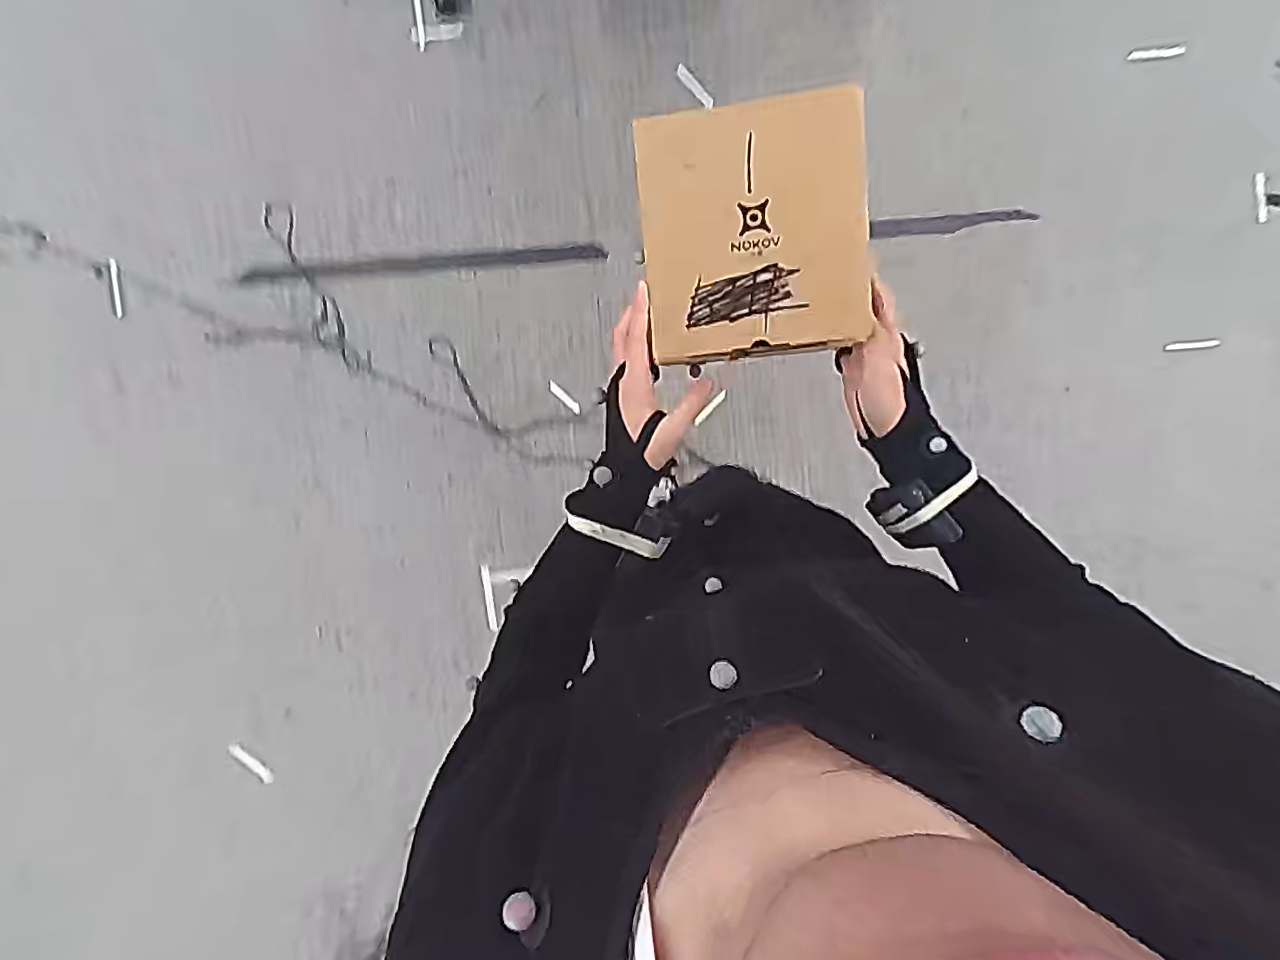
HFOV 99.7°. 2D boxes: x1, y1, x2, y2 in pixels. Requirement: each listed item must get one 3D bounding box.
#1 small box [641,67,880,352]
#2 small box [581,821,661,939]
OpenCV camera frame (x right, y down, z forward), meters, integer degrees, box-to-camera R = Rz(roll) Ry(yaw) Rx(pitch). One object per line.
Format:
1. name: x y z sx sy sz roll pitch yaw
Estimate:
1. small box: 0.095 -0.205 0.467 0.168 0.176 0.179 -4 100 6
2. small box: -0.048 1.035 1.412 0.179 0.176 0.168 -12 93 -2
